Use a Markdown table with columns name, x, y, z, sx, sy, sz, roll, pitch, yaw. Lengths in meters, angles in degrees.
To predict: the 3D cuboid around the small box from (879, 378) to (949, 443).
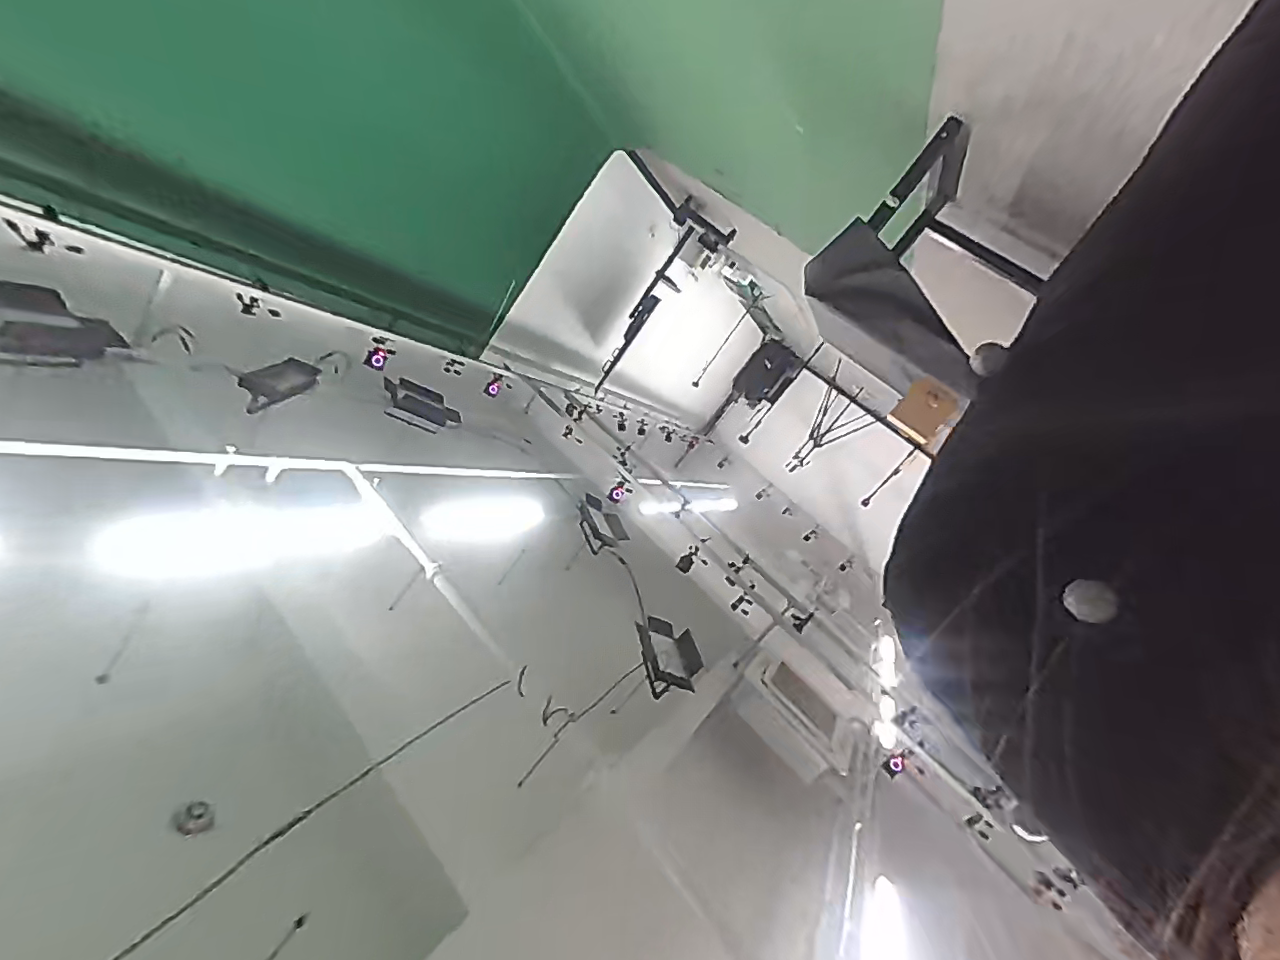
| name | x | y | z | sx | sy | sz | roll | pitch | yaw |
| --- | --- | --- | --- | --- | --- | --- | --- | --- | --- |
| small box | 1.030 | -0.260 | 2.037 | 0.168 | 0.176 | 0.179 | 41 | -167 | 18 |
